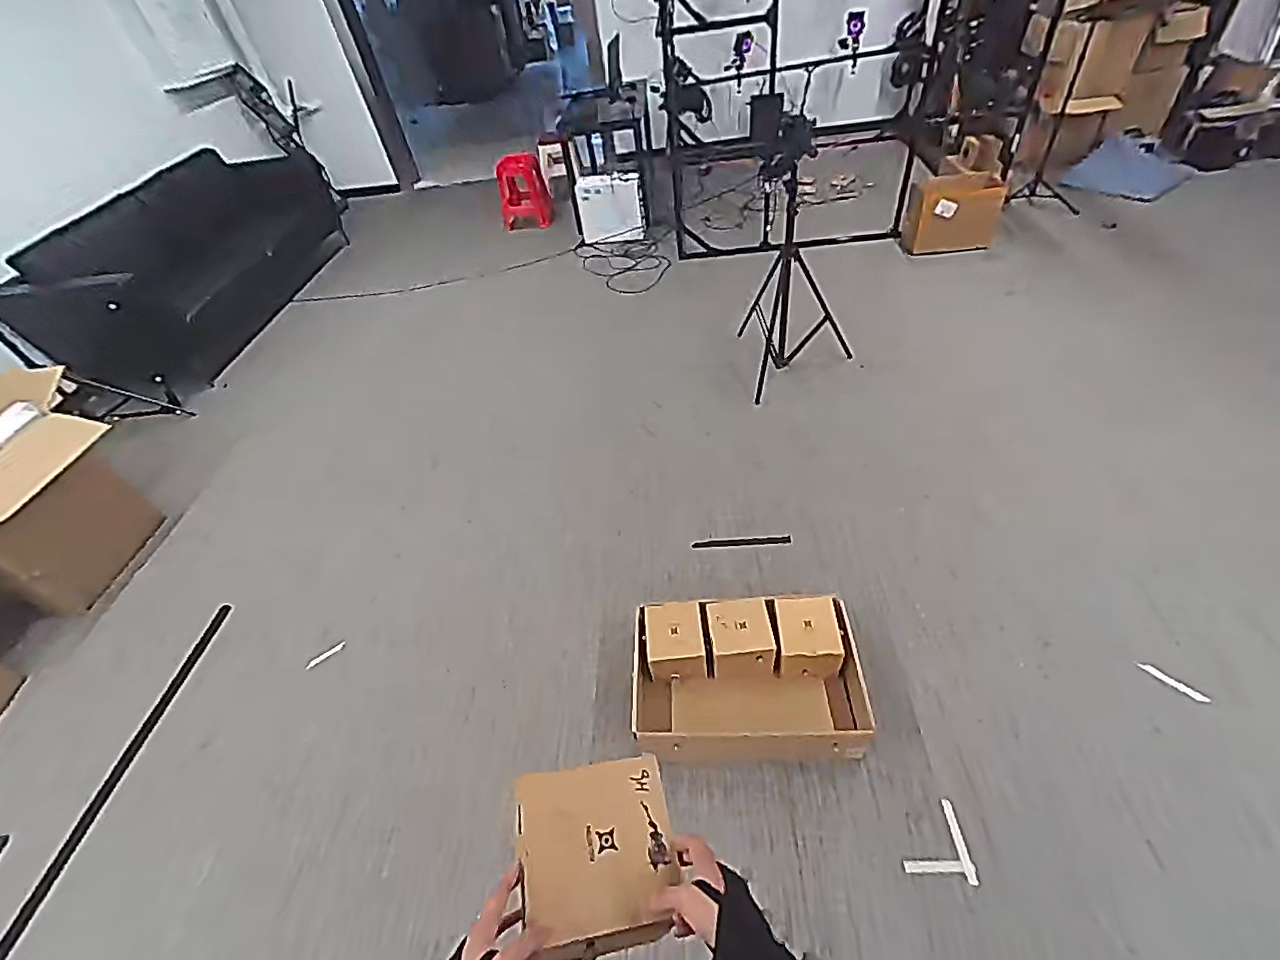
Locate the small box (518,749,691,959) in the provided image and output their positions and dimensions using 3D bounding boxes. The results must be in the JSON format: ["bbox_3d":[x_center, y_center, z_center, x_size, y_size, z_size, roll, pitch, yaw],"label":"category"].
[{"bbox_3d":[-0.055,0.456,0.657,0.179,0.176,0.168,-2,44,-15],"label":"small box"}]
